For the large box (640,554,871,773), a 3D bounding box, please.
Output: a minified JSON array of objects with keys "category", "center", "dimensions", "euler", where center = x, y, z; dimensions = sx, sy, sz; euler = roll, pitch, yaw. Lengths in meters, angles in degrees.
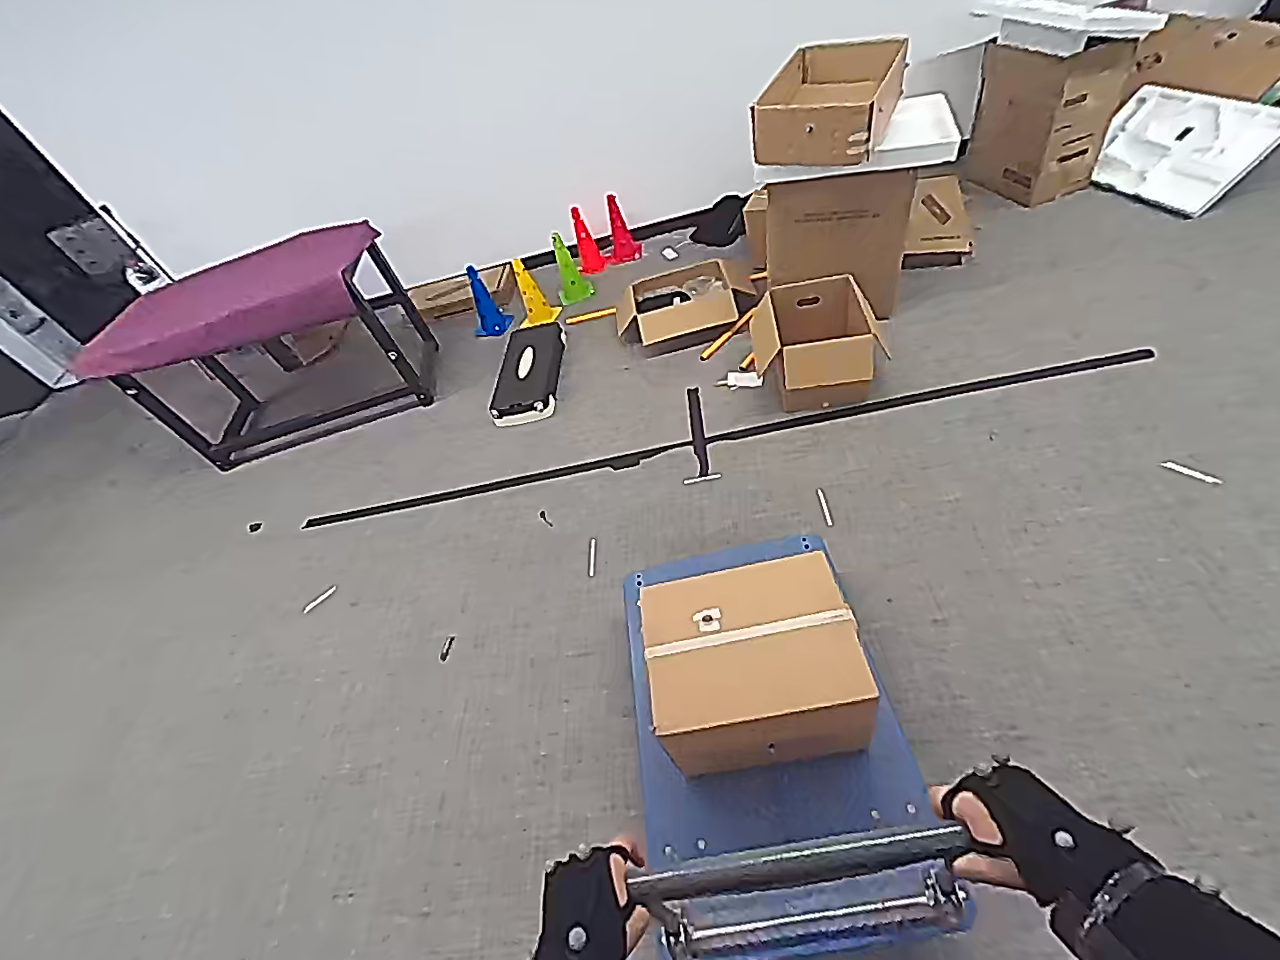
[{"category":"large box","center":[0.244,0.413,1.190],"dimensions":[0.408,0.320,0.320],"euler":[-14,46,7]}]
